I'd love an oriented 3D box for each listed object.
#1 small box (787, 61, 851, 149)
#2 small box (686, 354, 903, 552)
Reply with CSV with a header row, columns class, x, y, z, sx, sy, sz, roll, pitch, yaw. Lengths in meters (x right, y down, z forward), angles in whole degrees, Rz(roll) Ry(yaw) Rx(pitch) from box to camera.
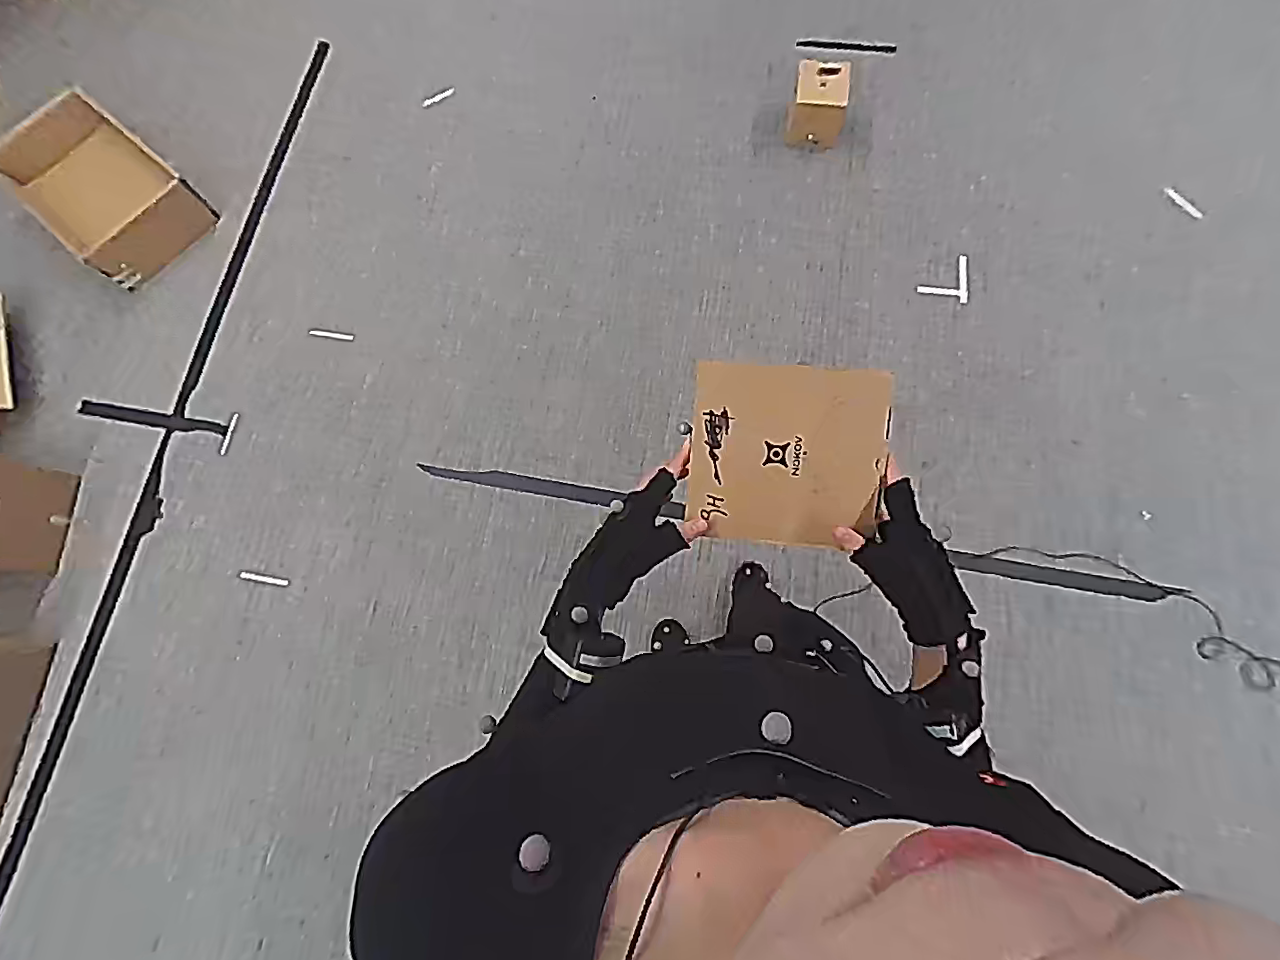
class,x,y,z,sx,sy,sz,roll,pitch,yaw
small box,0.604,-1.269,1.837,0.168,0.176,0.179,8,77,5
small box,0.145,-0.030,0.566,0.179,0.176,0.168,6,94,6
